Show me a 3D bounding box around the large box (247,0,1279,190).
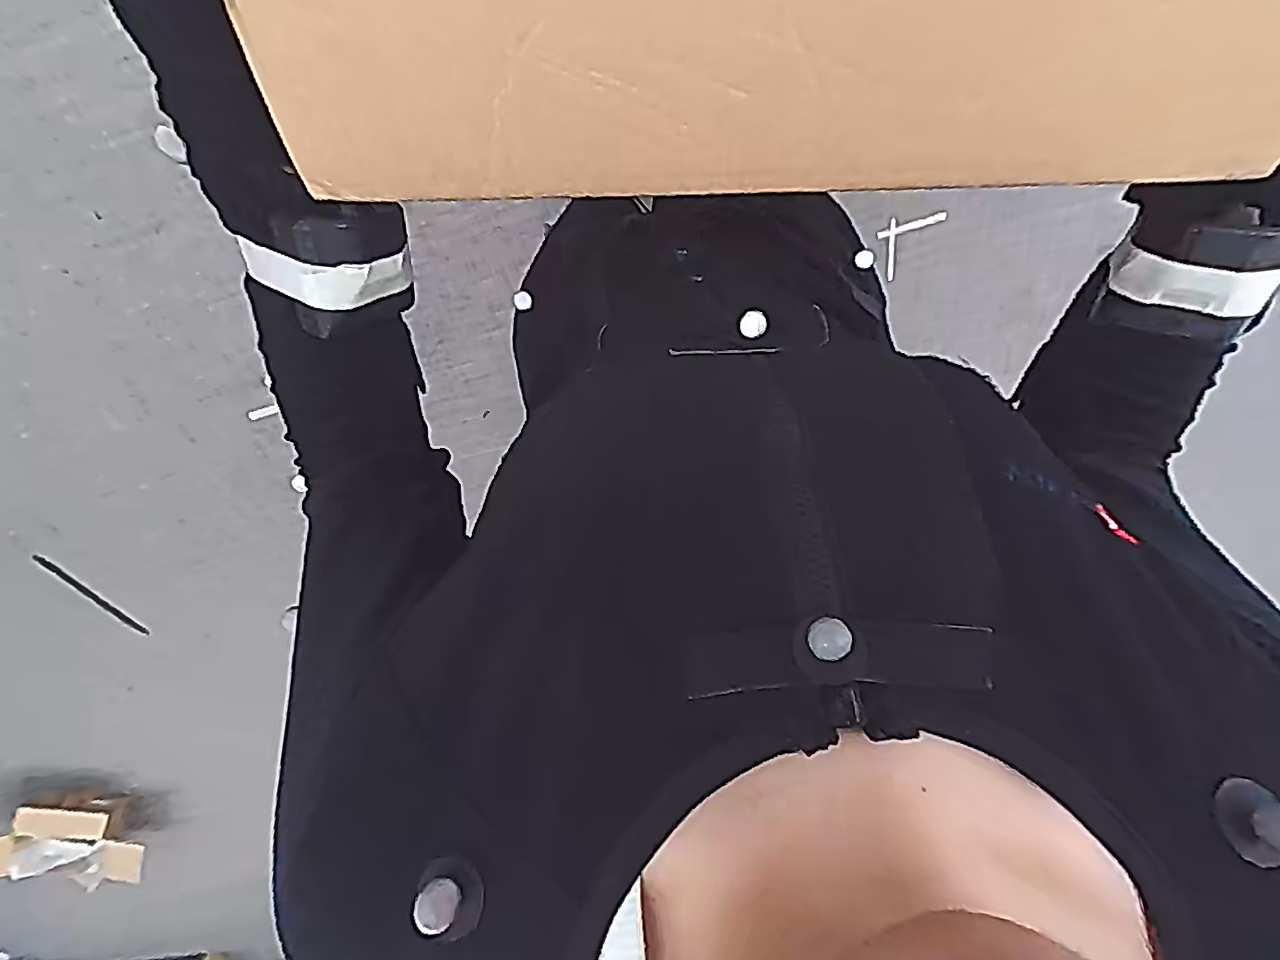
[{"bbox_3d":[0.055,-0.347,0.229,0.408,0.320,0.320,-1,136,1],"label":"large box"}]
